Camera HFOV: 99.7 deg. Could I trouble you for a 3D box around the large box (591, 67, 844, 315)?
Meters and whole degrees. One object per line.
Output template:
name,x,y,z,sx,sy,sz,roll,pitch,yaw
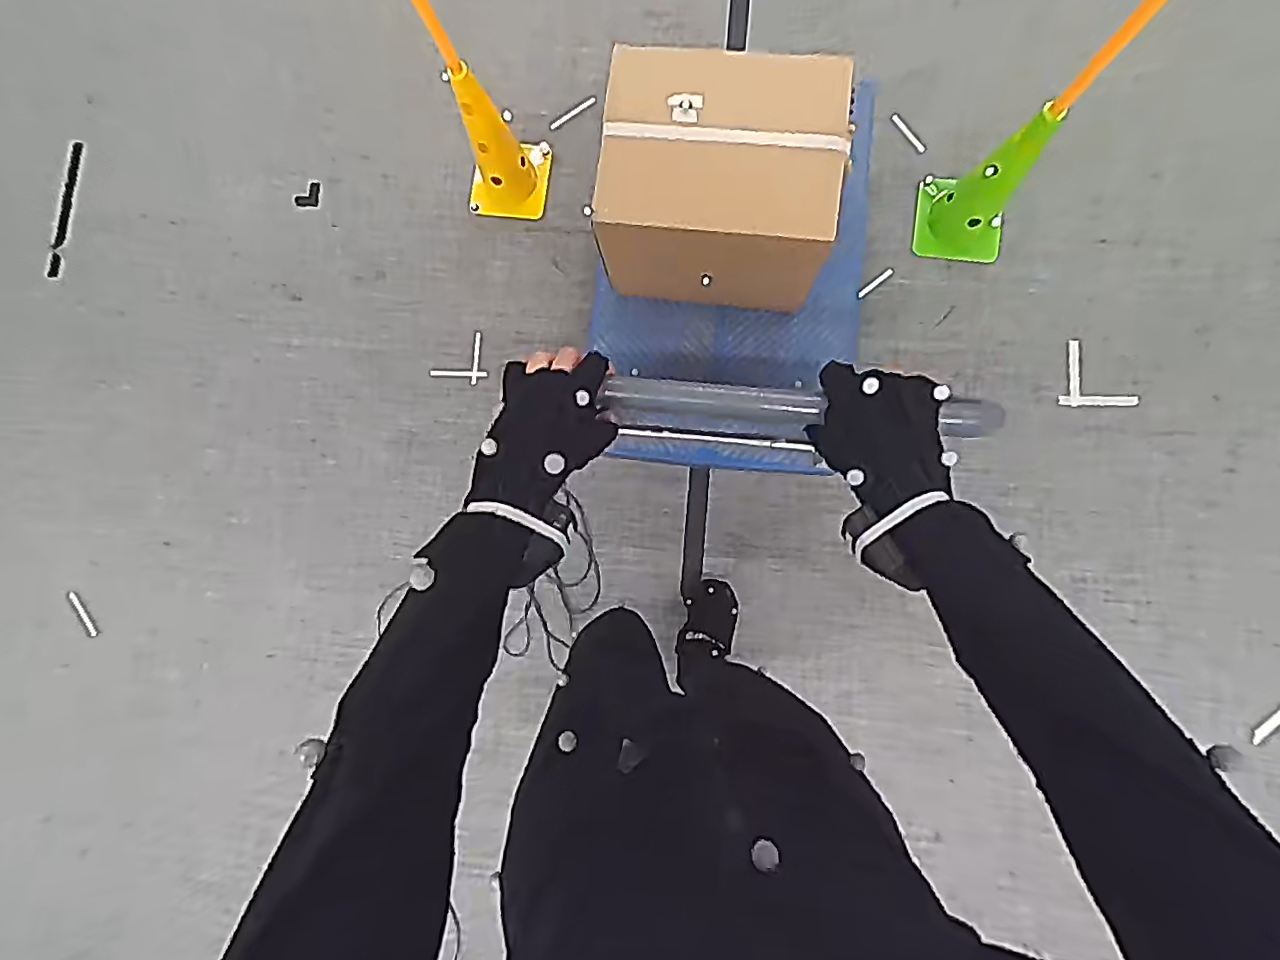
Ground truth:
large box,0.144,-0.535,1.056,0.408,0.320,0.320,7,86,6

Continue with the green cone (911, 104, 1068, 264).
green cone,0.762,-0.646,1.157,0.202,0.368,0.200,8,86,4
